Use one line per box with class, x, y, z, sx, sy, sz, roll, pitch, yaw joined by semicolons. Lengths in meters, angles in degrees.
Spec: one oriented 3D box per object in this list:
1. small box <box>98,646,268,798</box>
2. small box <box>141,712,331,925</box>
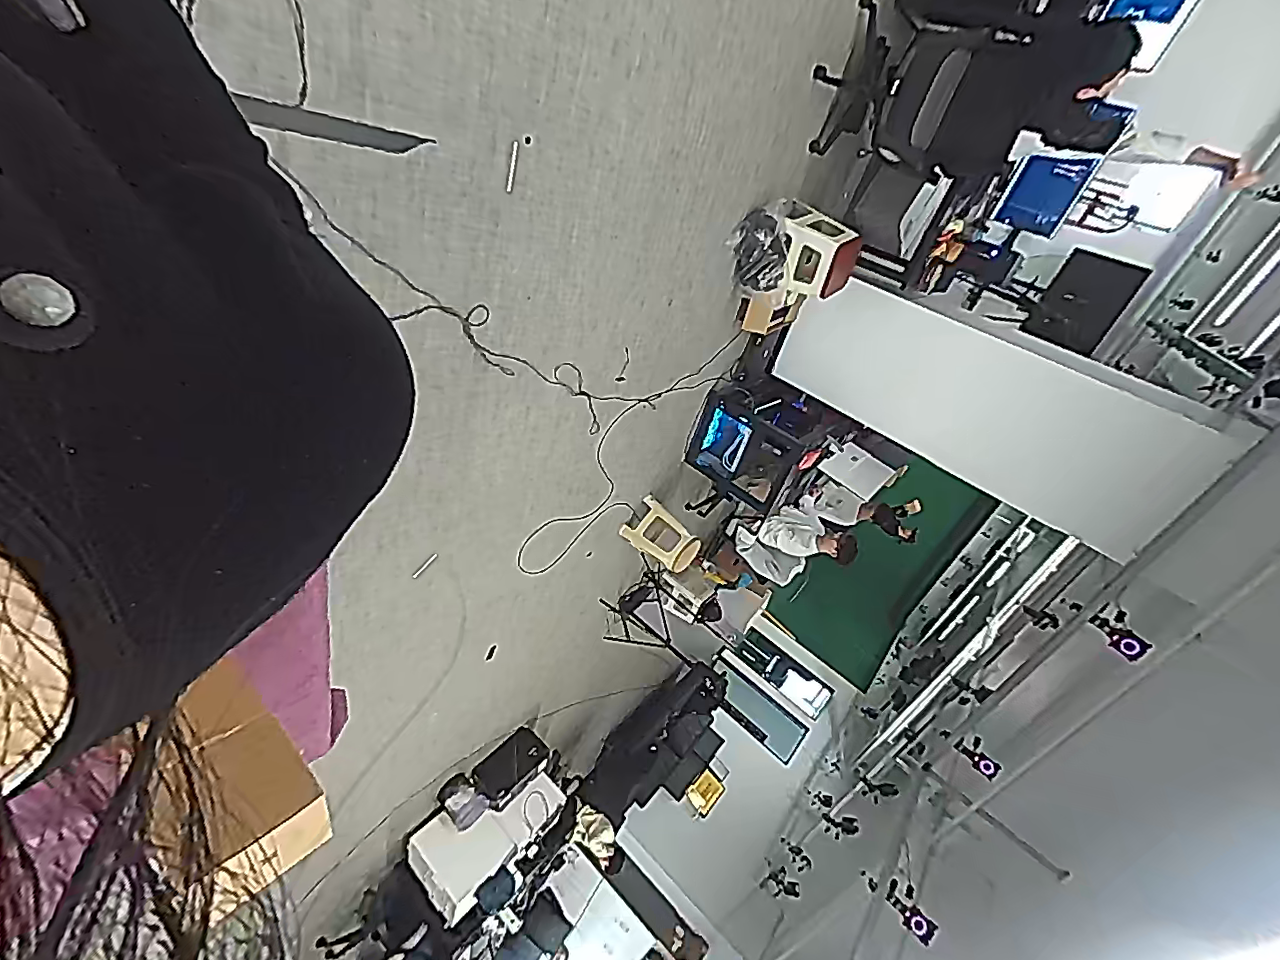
small box;-0.717;0.405;0.869;0.168;0.176;0.179;-27;144;-46
small box;-0.596;0.493;0.805;0.179;0.176;0.168;-29;147;-46
